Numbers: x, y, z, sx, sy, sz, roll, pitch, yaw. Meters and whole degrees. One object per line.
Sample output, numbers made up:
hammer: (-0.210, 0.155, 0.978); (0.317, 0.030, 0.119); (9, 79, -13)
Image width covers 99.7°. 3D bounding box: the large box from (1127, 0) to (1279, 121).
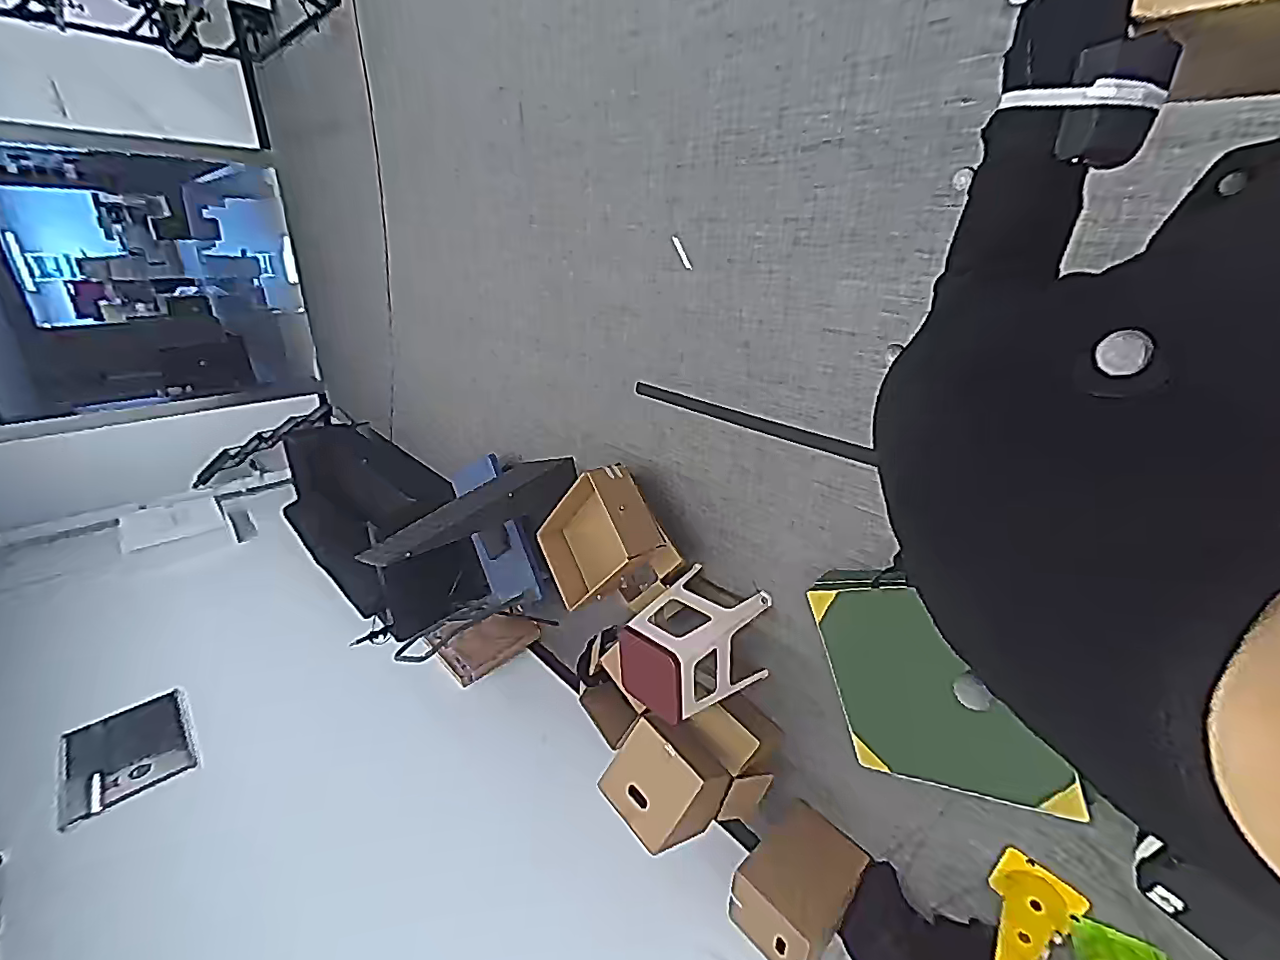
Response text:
large box: (0.550, -0.401, 0.263); (0.408, 0.320, 0.320); (21, 122, 36)
